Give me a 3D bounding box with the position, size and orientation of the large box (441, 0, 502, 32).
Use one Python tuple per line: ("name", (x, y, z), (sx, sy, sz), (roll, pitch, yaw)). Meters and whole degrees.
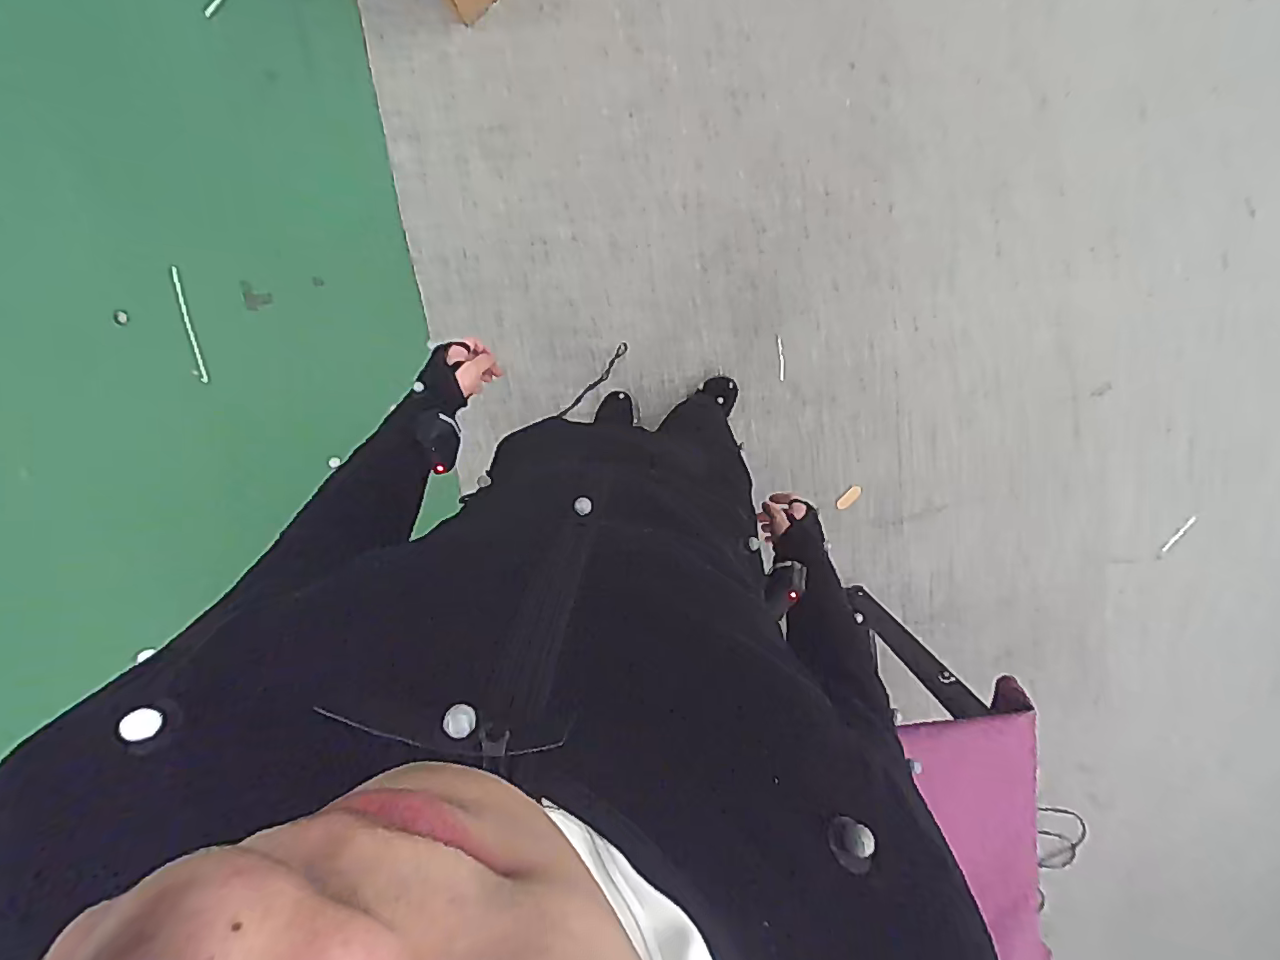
("large box", (-0.386, -1.350, 1.192), (0.408, 0.320, 0.320), (-40, 99, 7))
